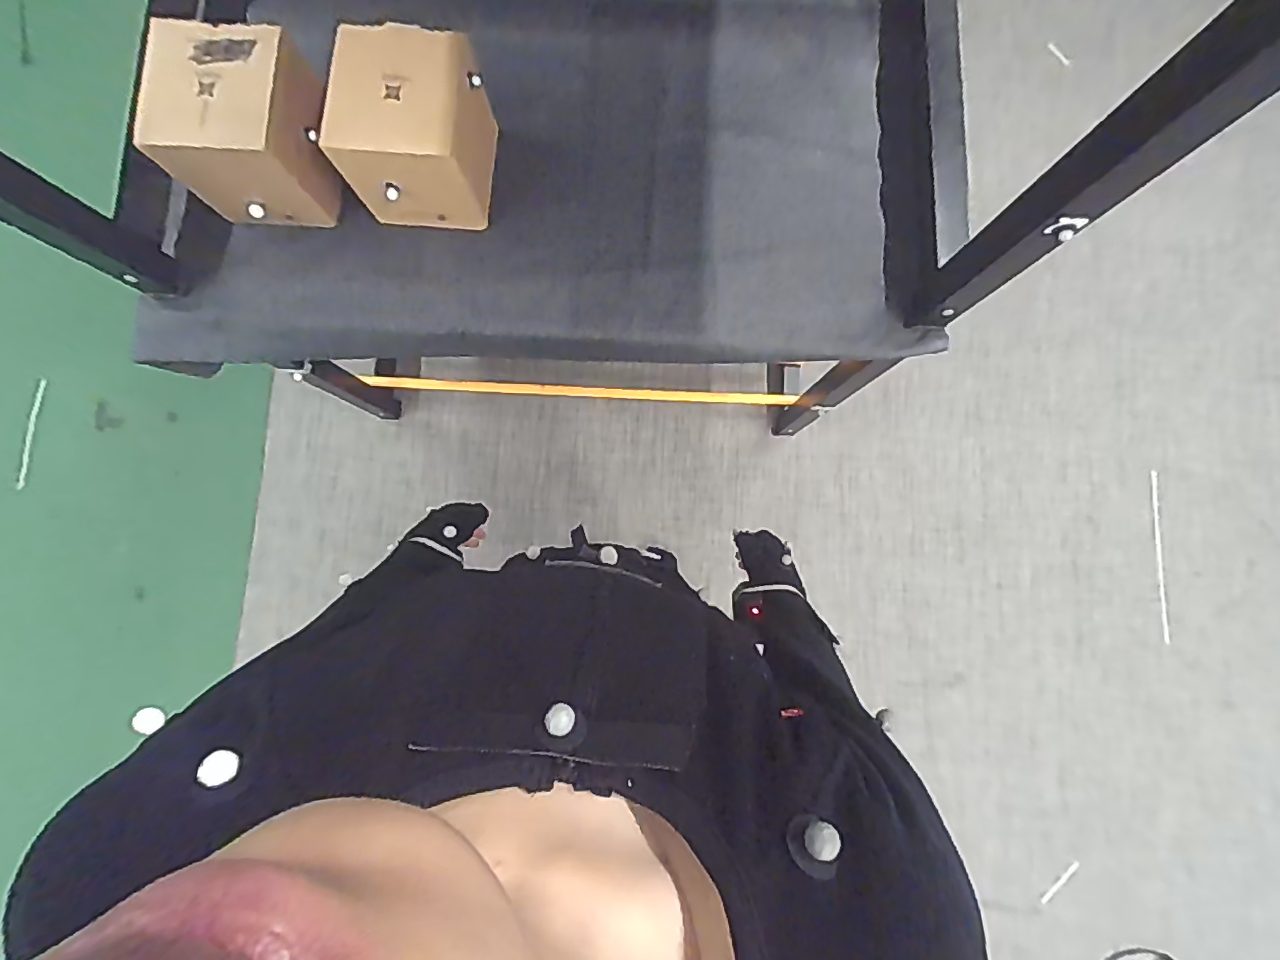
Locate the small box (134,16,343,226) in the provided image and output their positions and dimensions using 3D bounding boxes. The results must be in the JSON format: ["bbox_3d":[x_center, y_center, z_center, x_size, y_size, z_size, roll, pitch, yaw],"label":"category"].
[{"bbox_3d":[-0.540,-0.490,0.757,0.168,0.176,0.179,2,83,-1],"label":"small box"}]

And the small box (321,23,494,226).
[{"bbox_3d":[-0.313,-0.487,0.764,0.168,0.176,0.179,4,83,-1],"label":"small box"}]
